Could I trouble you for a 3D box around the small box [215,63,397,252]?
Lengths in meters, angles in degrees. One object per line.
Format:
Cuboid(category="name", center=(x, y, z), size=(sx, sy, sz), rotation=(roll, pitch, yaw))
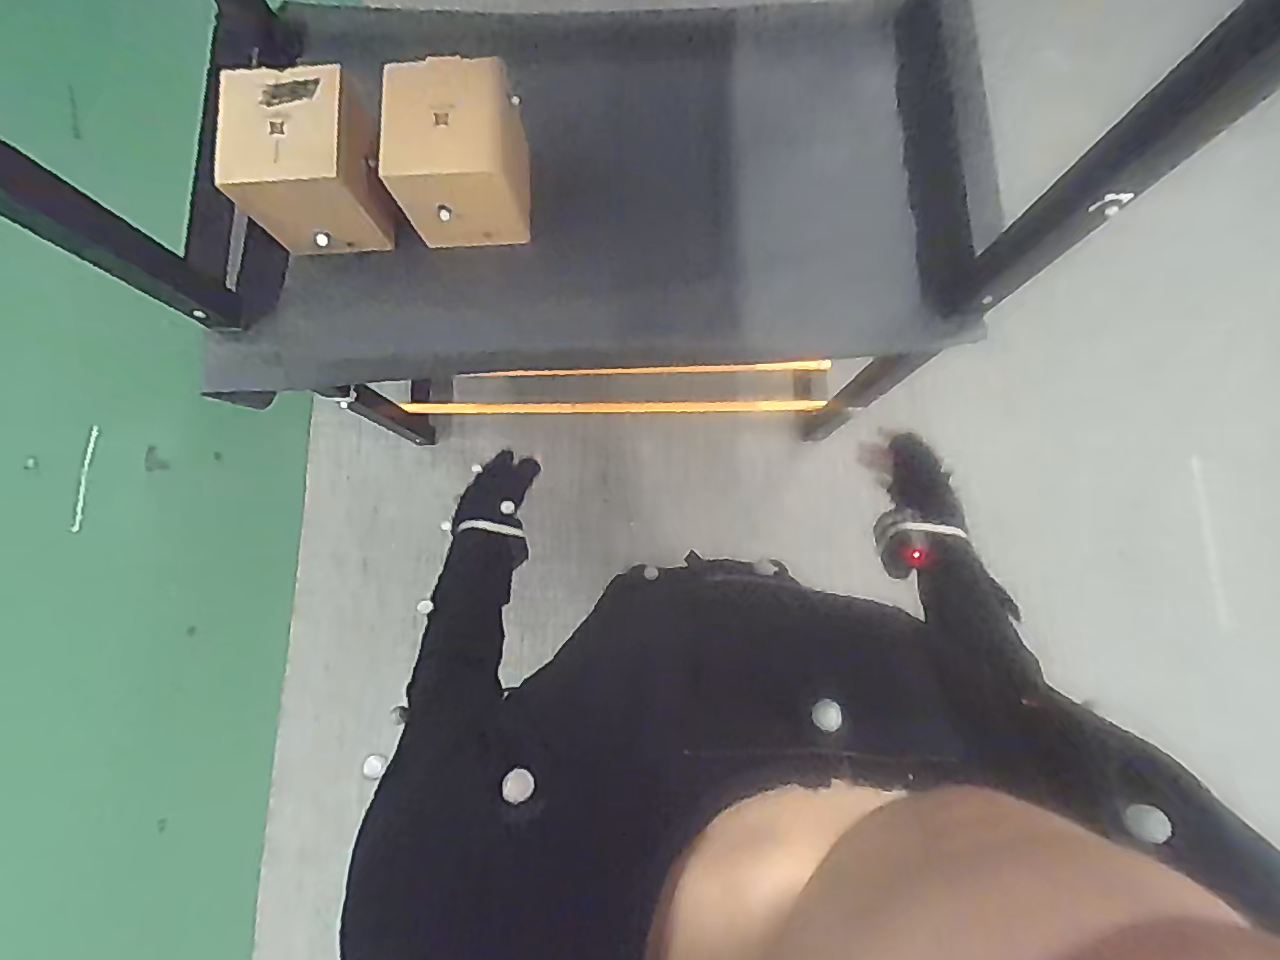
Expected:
Cuboid(category="small box", center=(-0.479, -0.467, 0.802), size=(0.168, 0.176, 0.179), rotation=(-3, 81, 1))
